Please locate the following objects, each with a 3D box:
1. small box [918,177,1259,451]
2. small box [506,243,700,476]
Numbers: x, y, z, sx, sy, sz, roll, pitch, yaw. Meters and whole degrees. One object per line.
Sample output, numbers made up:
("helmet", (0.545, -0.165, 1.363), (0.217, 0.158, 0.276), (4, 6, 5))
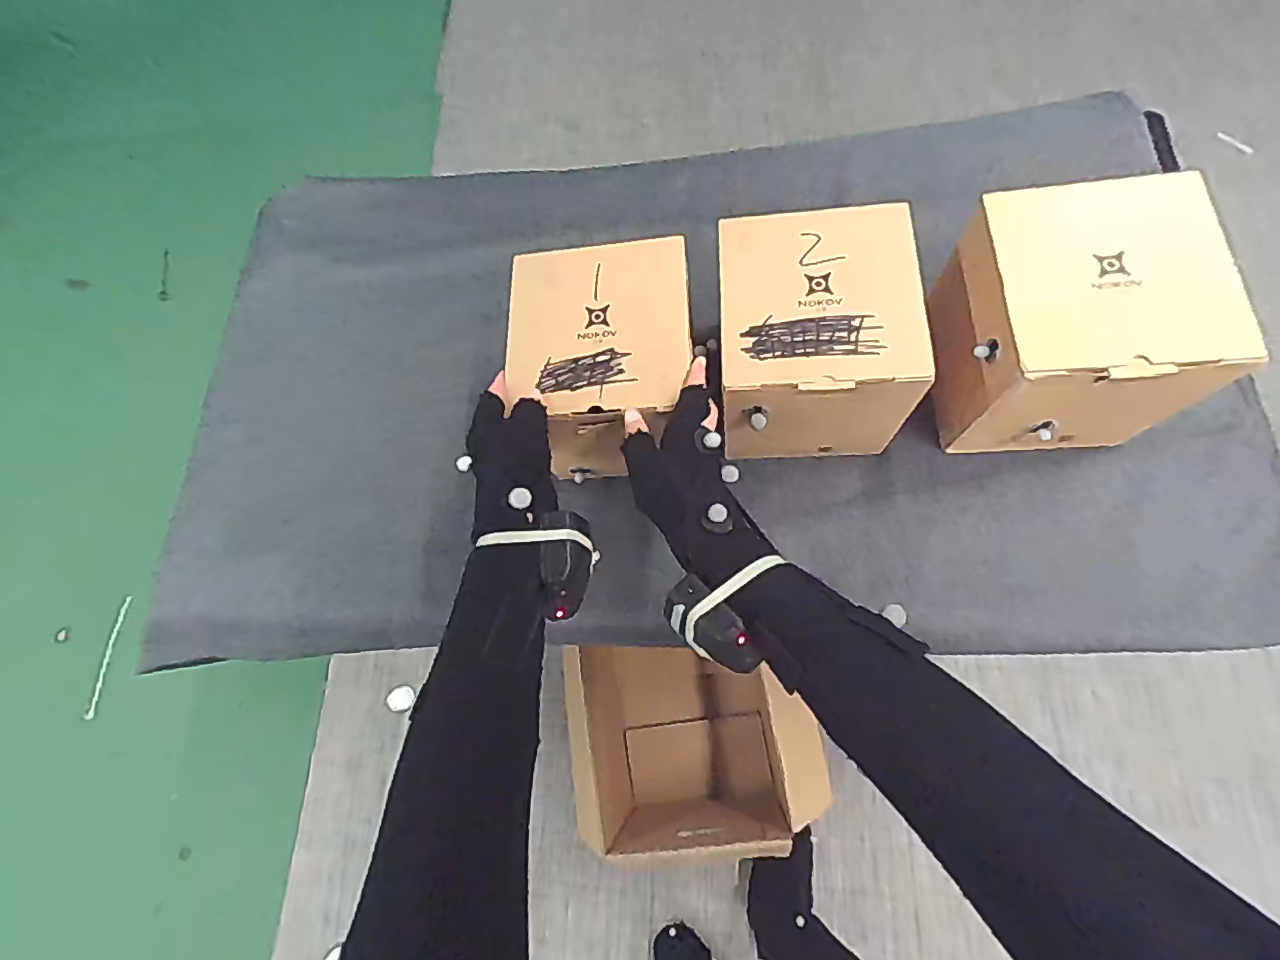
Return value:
("small box", (0.381, -0.140, 0.504), (0.168, 0.176, 0.179), (-3, 73, 8))
("small box", (-0.026, -0.108, 0.560), (0.168, 0.176, 0.179), (-4, 72, 7))
